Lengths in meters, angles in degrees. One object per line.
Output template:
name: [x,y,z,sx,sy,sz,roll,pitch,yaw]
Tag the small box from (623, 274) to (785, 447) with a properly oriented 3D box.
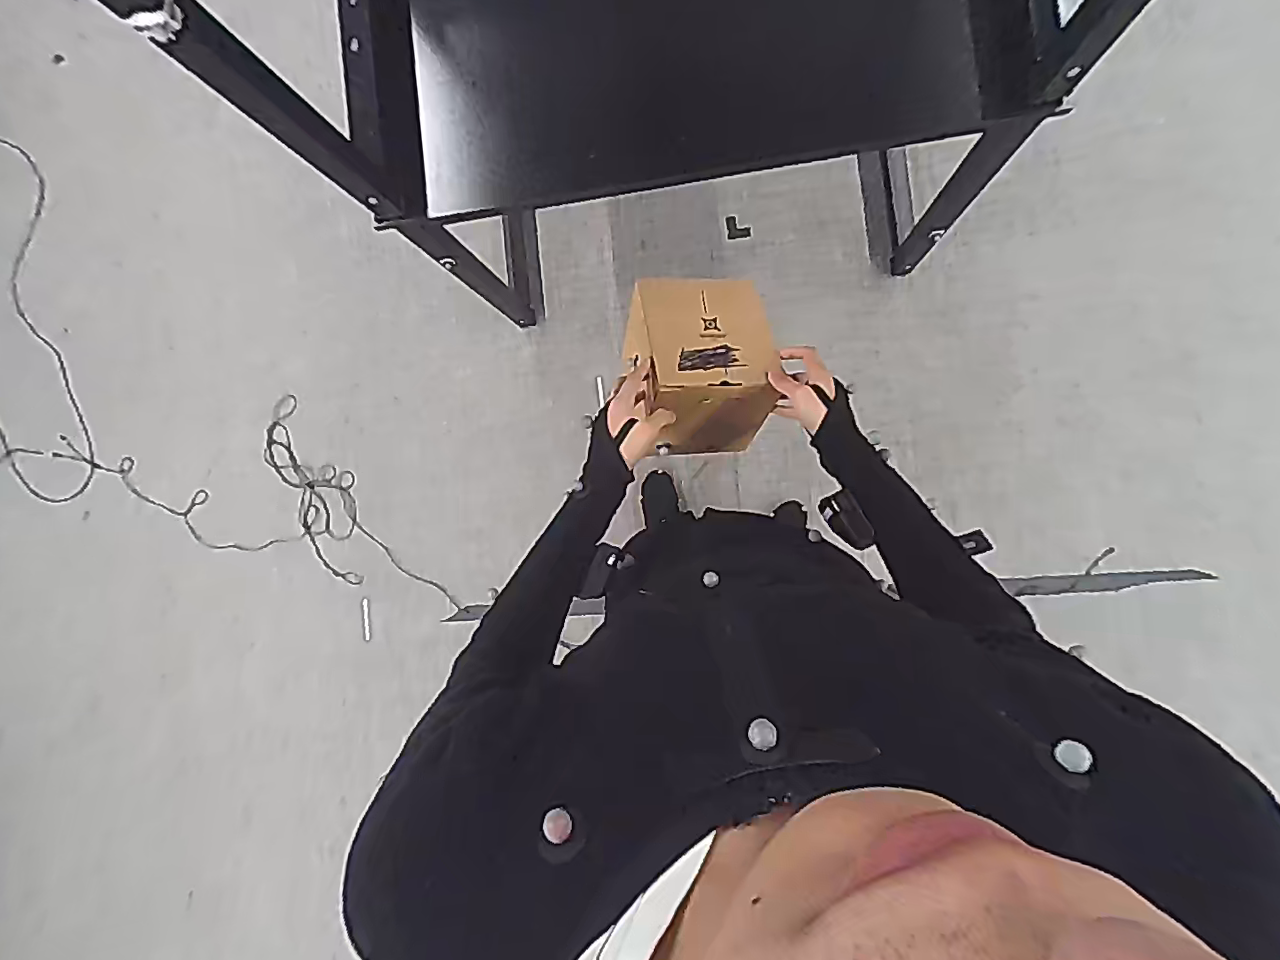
small box: [0.074,-0.155,0.743,0.168,0.176,0.179,-5,65,-11]
